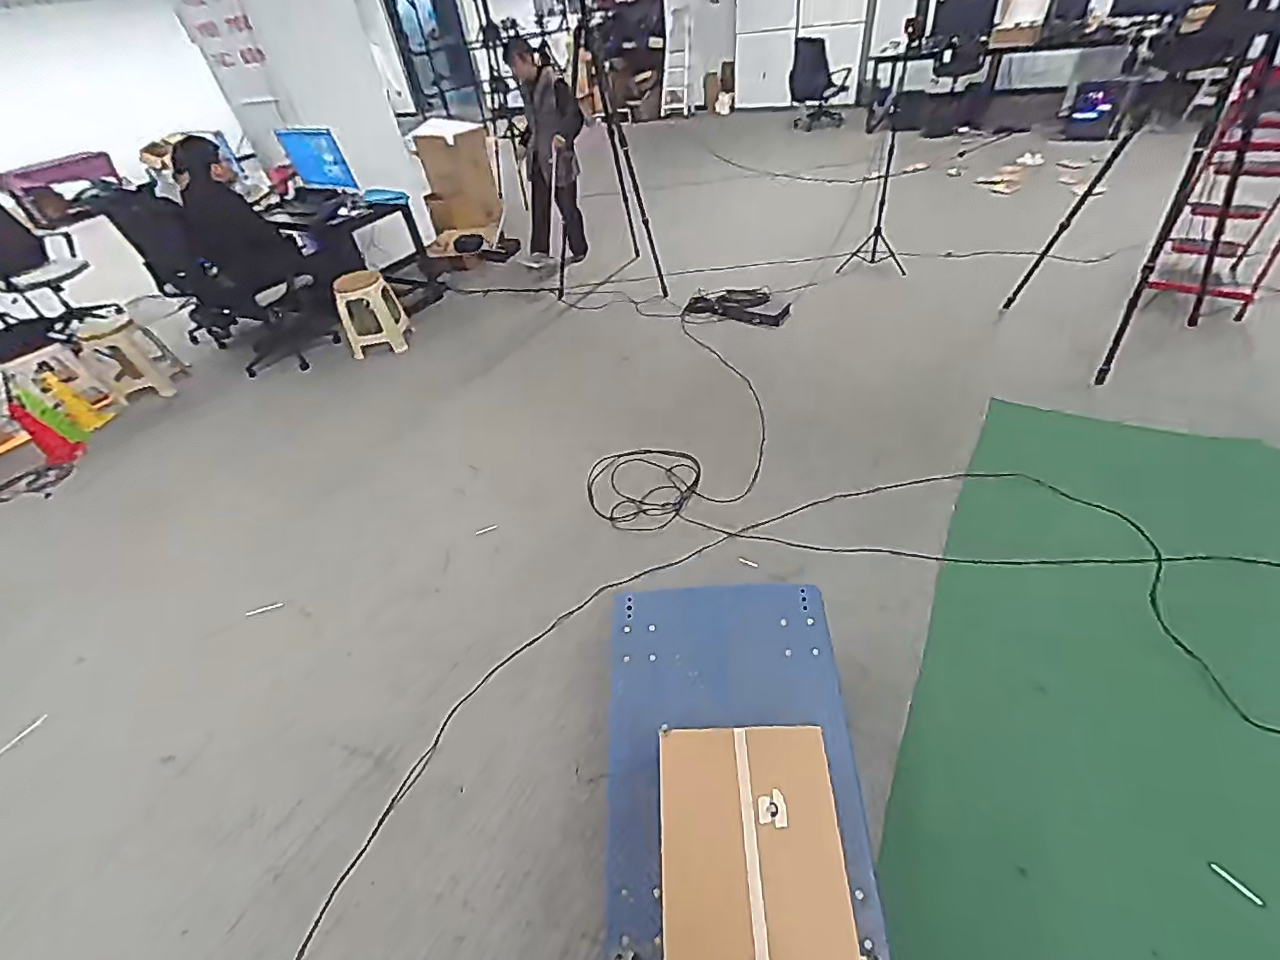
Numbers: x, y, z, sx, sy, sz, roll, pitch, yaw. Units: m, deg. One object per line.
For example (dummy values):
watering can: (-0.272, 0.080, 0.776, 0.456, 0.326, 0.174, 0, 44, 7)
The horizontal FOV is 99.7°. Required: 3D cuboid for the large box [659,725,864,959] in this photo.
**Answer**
large box: (0.214, 0.733, 1.062, 0.320, 0.320, 0.408, -4, 55, 5)
